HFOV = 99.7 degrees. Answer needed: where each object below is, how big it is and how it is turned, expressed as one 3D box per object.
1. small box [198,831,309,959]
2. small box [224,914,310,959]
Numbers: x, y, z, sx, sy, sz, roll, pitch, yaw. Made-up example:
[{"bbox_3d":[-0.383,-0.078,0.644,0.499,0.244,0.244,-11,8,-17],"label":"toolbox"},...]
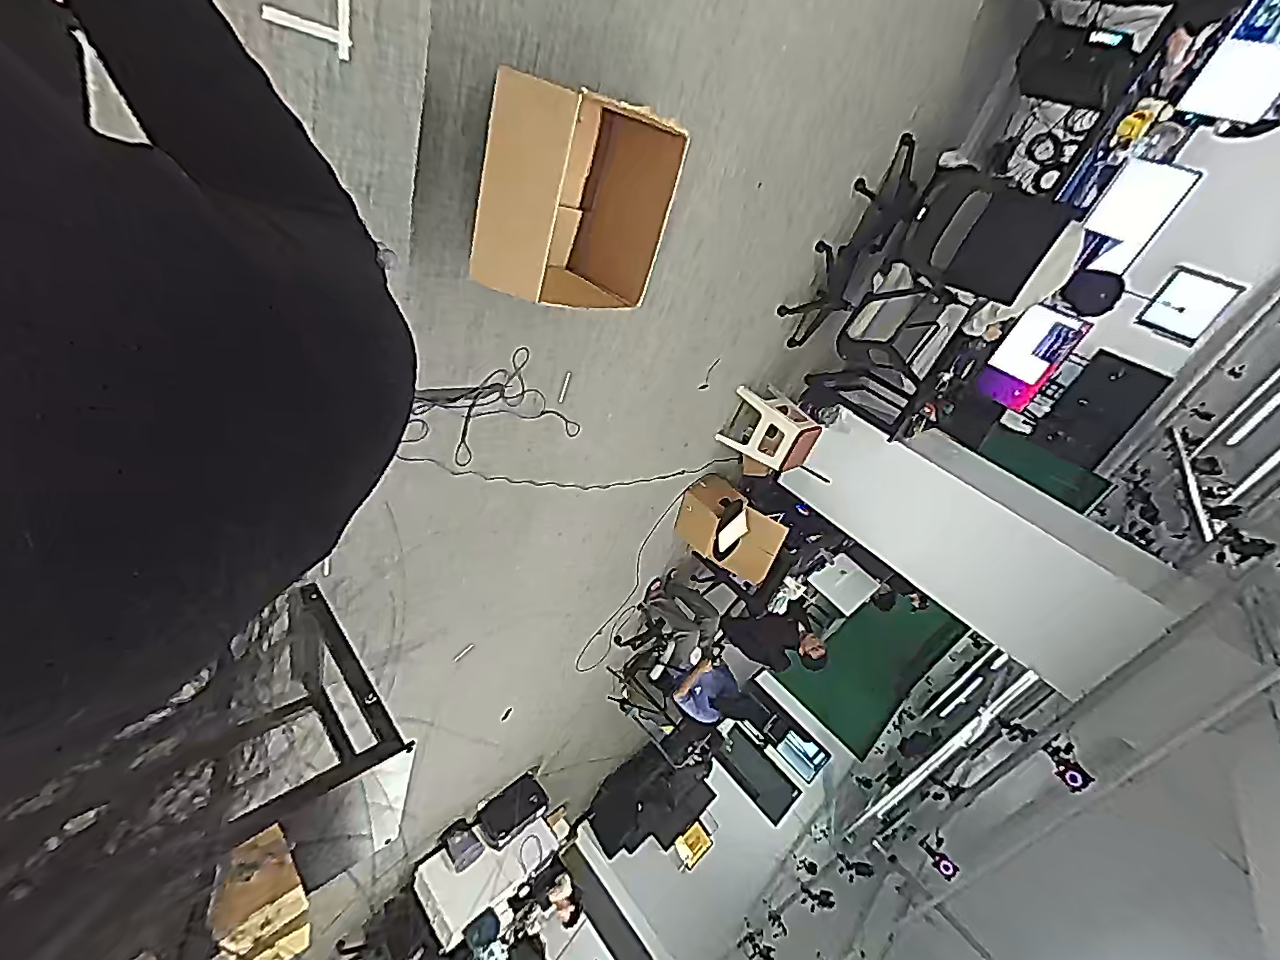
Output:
[{"bbox_3d":[-0.916,0.982,1.284,0.168,0.176,0.179,-21,141,-41],"label":"small box"},{"bbox_3d":[-0.996,1.195,1.431,0.168,0.176,0.179,-15,136,-46],"label":"small box"}]
